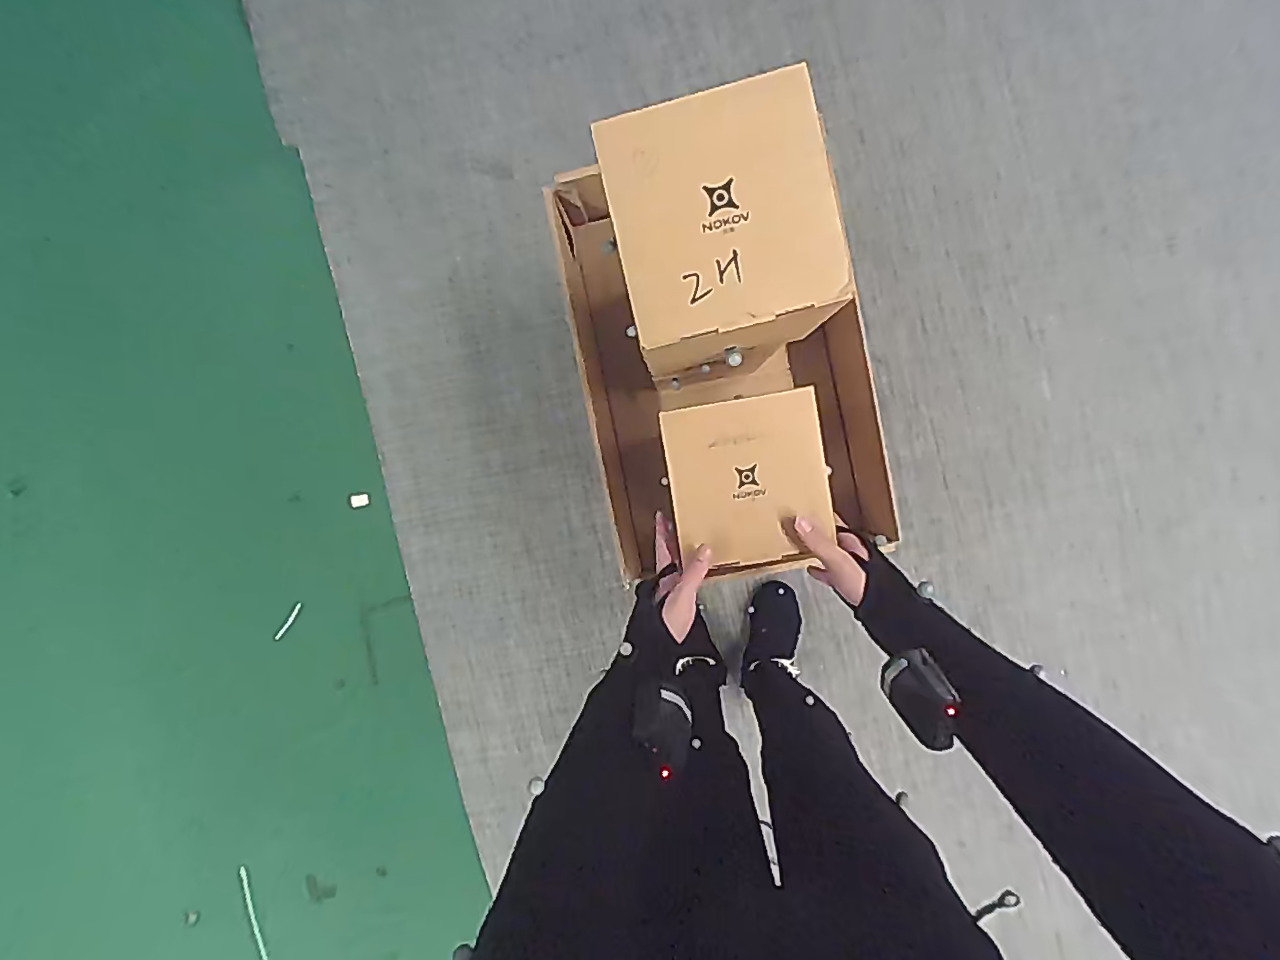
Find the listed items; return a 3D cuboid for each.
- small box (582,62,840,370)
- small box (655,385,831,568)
[{"bbox_3d":[0.058,-0.210,0.484,0.168,0.176,0.179,-13,94,6],"label":"small box"},{"bbox_3d":[0.115,-0.005,0.648,0.168,0.176,0.179,-9,90,5],"label":"small box"}]
